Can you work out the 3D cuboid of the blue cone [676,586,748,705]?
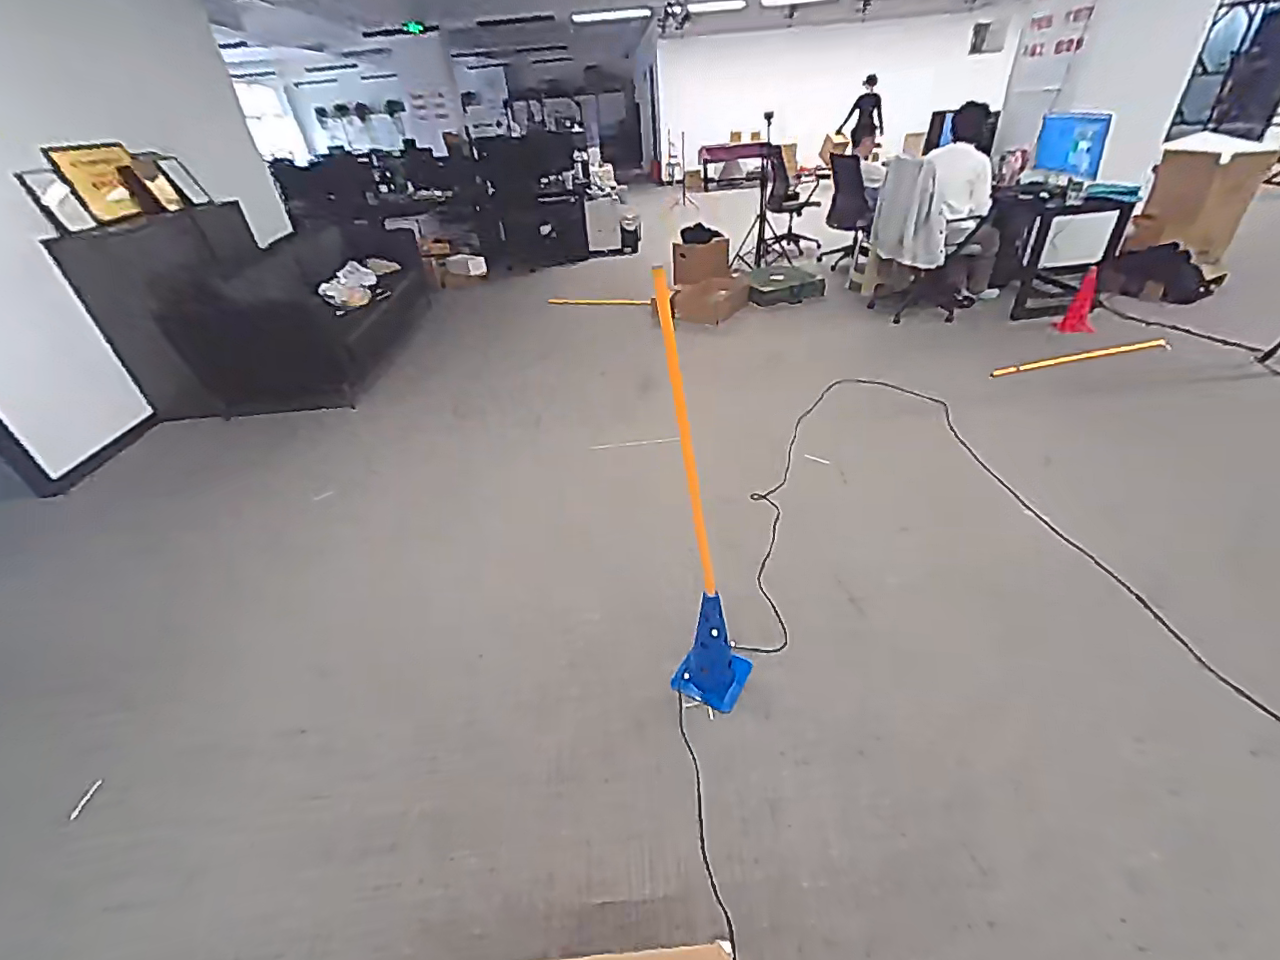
[{"bbox_3d":[0.206,0.450,1.551,0.192,0.380,0.193,14,40,27],"label":"blue cone"}]
